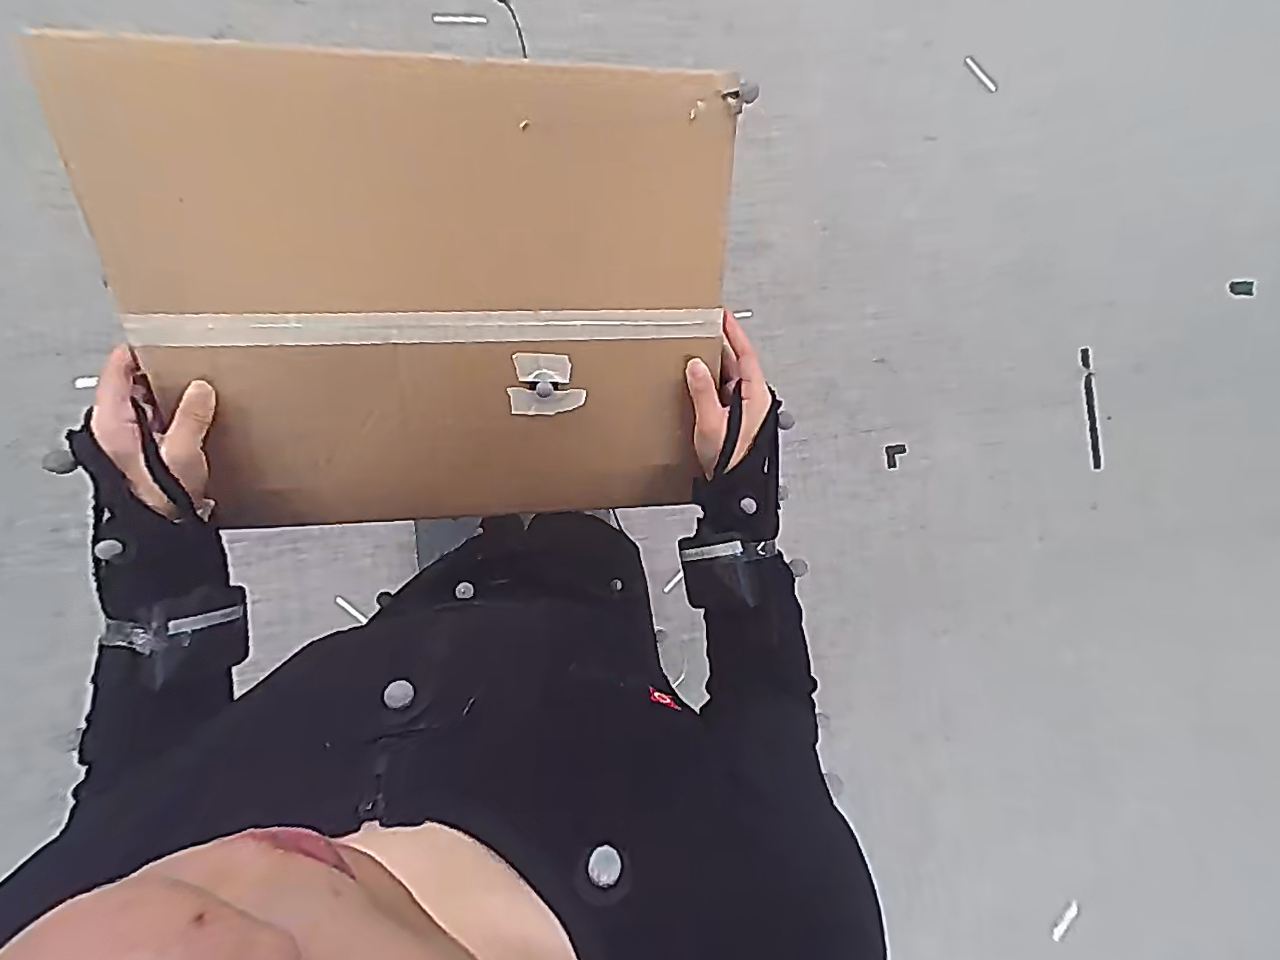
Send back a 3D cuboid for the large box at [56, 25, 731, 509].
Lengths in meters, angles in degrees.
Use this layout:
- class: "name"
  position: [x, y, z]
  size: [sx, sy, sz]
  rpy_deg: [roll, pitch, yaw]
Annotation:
- class: "large box"
  position: [-0.160, -0.189, 0.525]
  size: [0.408, 0.320, 0.320]
  rpy_deg: [-3, 116, -8]
